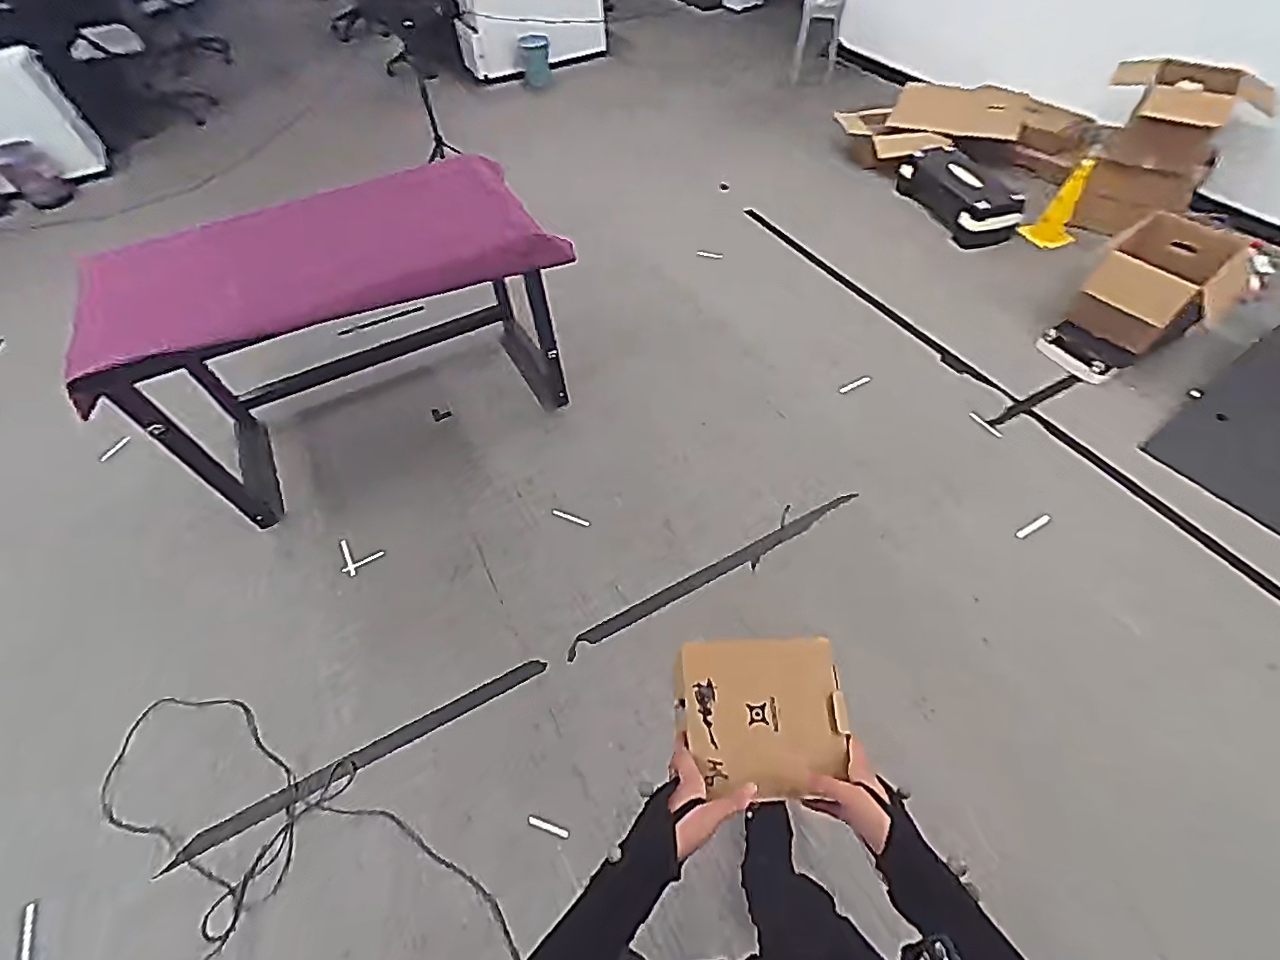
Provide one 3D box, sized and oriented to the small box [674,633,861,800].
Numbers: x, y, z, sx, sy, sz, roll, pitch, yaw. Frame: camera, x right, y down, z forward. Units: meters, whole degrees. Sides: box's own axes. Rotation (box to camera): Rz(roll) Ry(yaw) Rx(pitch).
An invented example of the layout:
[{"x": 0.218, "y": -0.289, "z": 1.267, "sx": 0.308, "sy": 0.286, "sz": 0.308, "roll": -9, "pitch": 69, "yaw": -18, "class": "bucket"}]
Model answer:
[{"x": 0.138, "y": 0.285, "z": 0.659, "sx": 0.179, "sy": 0.176, "sz": 0.168, "roll": -2, "pitch": 63, "yaw": -1, "class": "small box"}]
